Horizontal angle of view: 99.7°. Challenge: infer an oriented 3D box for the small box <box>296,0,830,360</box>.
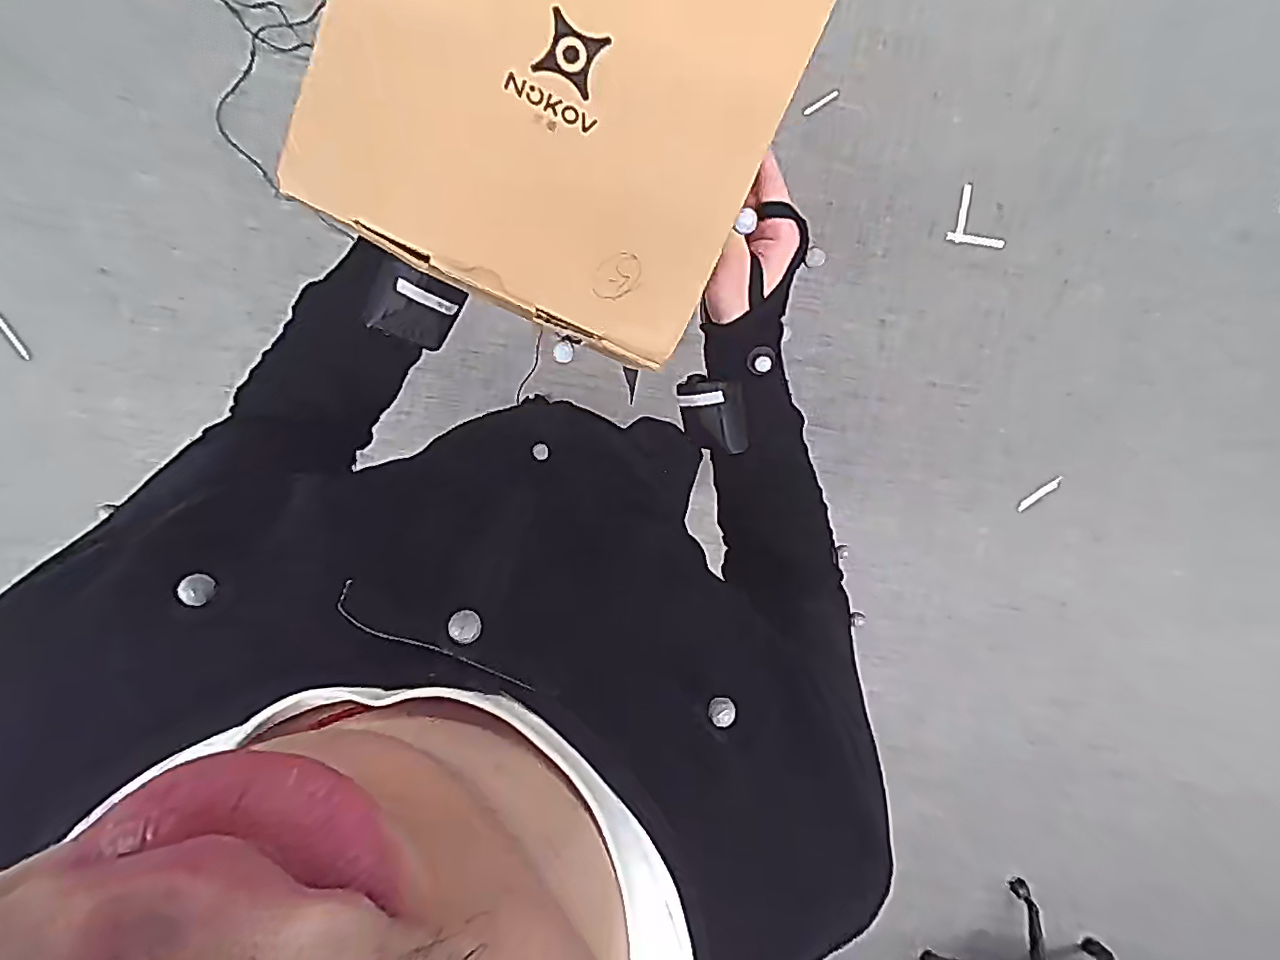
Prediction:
[{"bbox_3d":[-0.035,-0.177,0.290,0.168,0.176,0.179,23,98,-11],"label":"small box"}]
